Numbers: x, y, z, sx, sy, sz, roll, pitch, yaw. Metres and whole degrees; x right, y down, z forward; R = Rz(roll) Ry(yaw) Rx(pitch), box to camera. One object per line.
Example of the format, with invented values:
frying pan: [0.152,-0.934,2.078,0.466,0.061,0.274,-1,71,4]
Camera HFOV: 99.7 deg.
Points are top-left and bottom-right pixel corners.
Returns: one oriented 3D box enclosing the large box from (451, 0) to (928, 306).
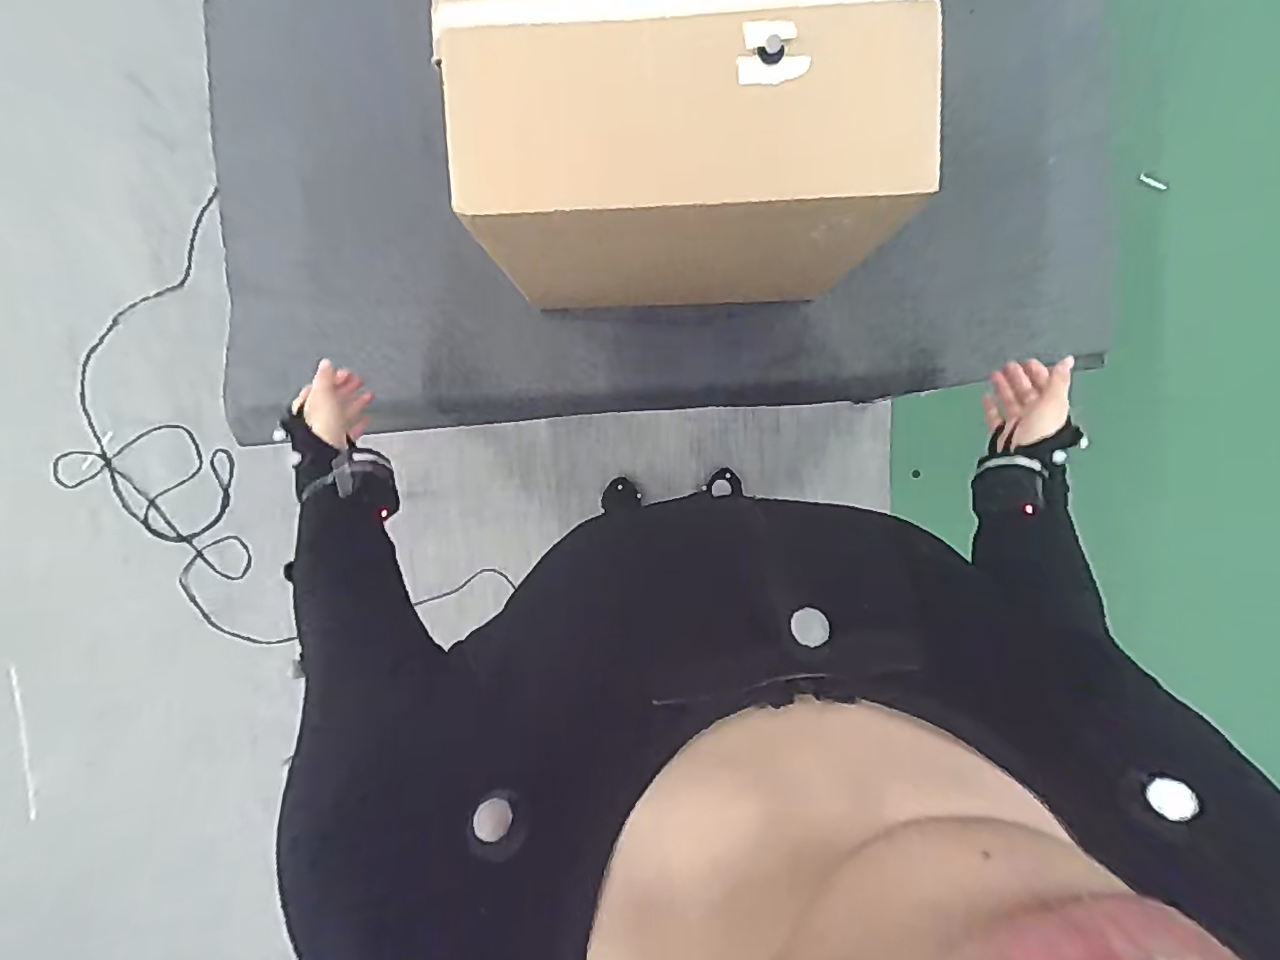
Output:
large box: [0.039,-0.399,0.603,0.408,0.320,0.320,-2,94,1]
